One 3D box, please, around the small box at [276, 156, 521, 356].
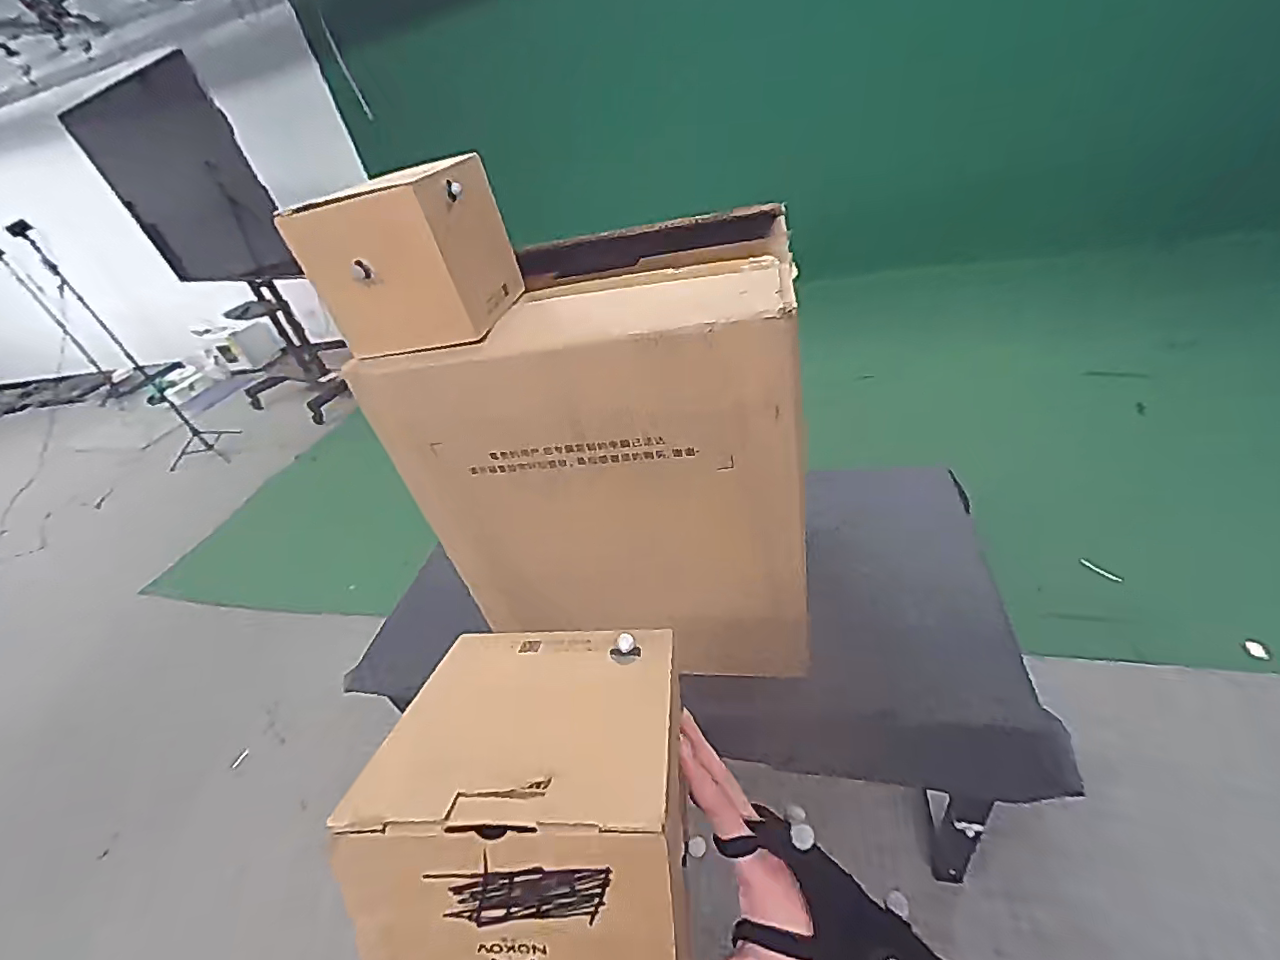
[{"bbox_3d":[-0.274,-0.266,0.658,0.179,0.176,0.168,-5,39,16],"label":"small box"}]
